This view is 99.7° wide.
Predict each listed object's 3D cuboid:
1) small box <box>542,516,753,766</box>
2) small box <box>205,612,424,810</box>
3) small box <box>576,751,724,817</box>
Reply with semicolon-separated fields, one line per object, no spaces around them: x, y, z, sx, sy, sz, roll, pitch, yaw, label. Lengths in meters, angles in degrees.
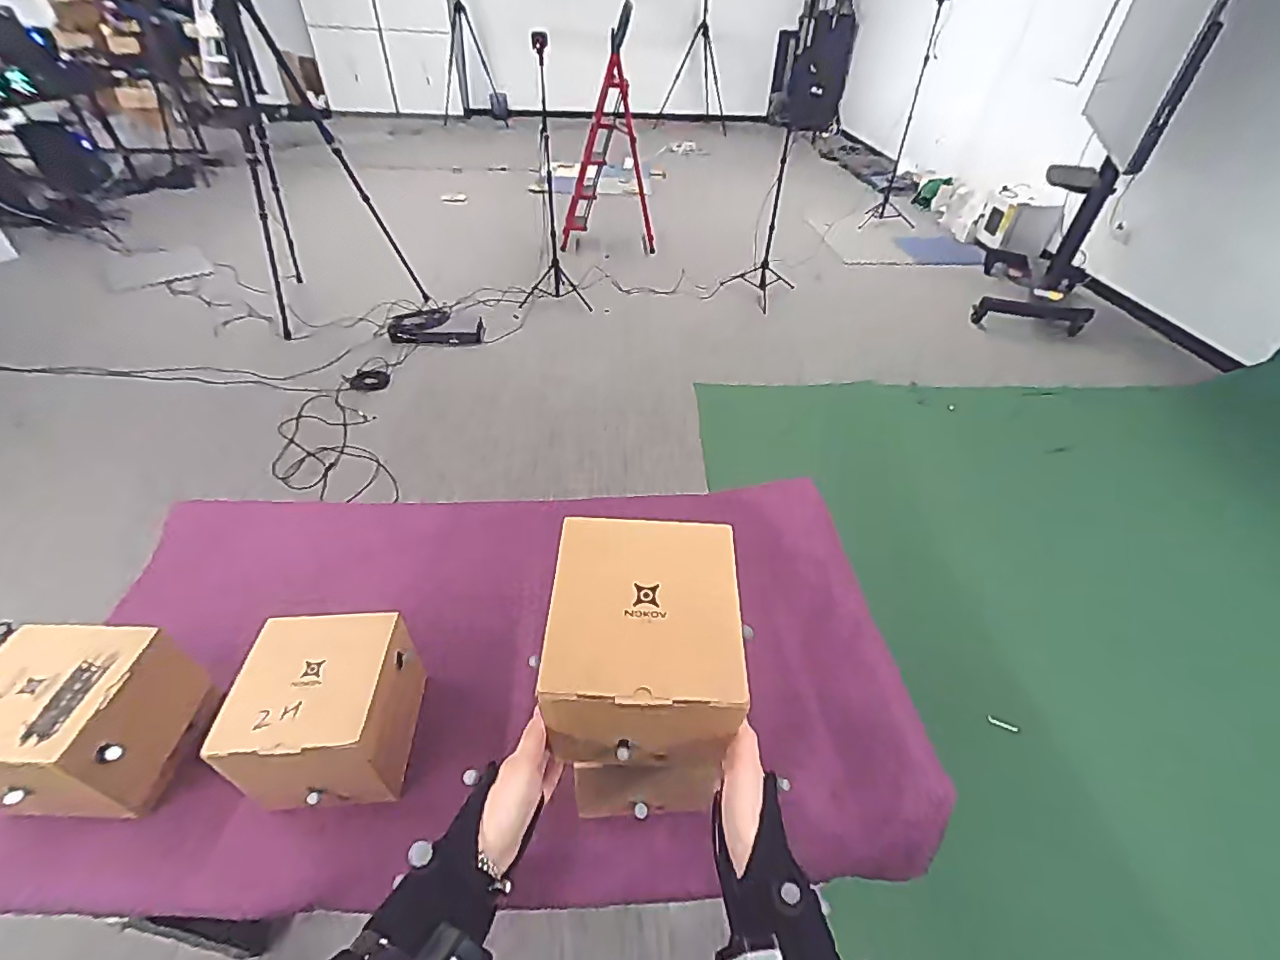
0.004;0.157;0.526;0.168;0.176;0.179;3;49;-1;small box
-0.391;0.293;0.693;0.168;0.176;0.179;-3;41;-4;small box
0.004;0.309;0.699;0.168;0.176;0.179;-1;43;-4;small box
